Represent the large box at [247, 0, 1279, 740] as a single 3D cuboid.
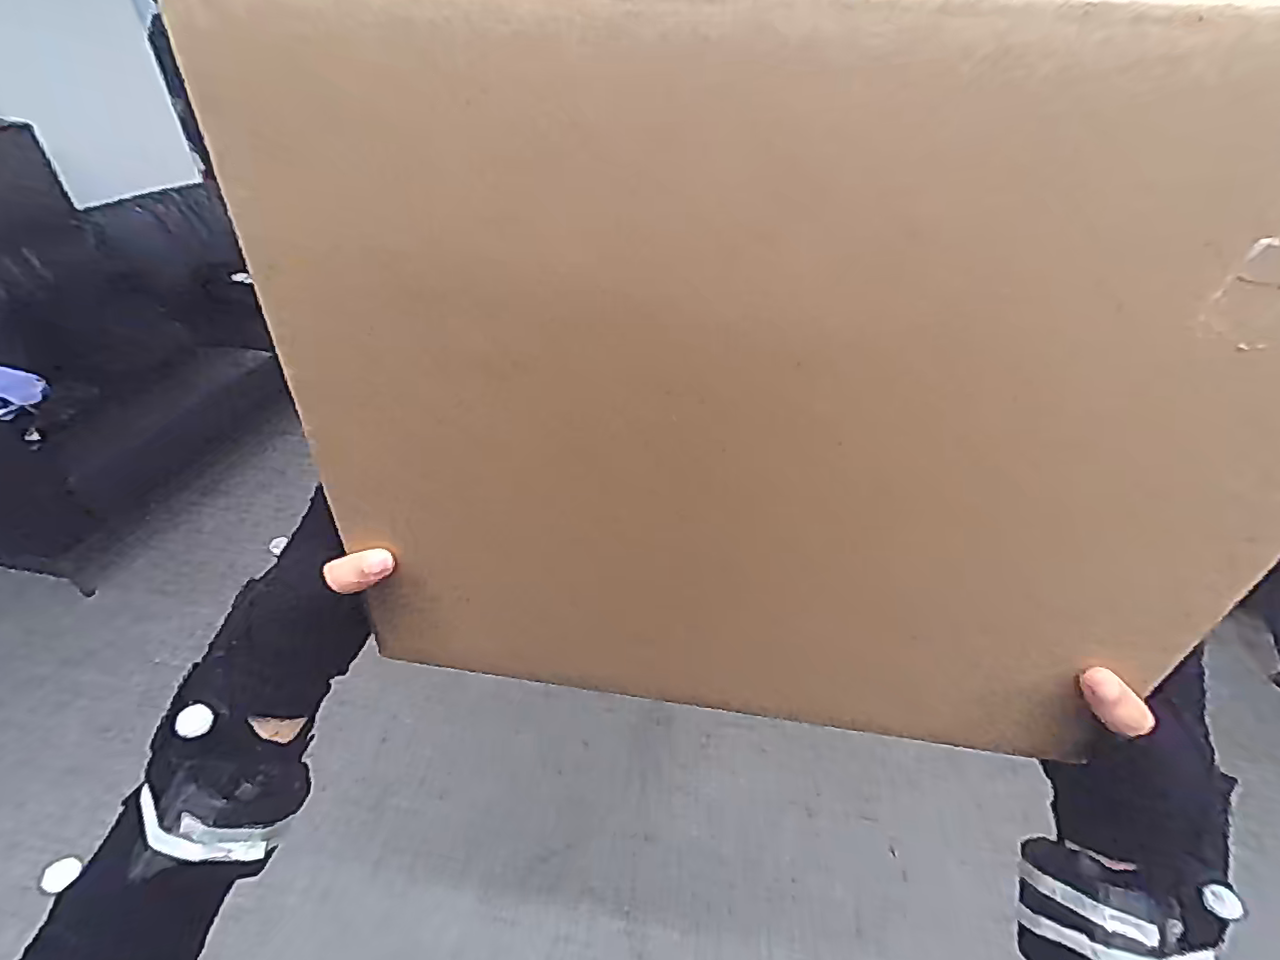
[{"bbox_3d":[0.079,-0.077,0.356,0.408,0.320,0.320,8,35,3],"label":"large box"}]
